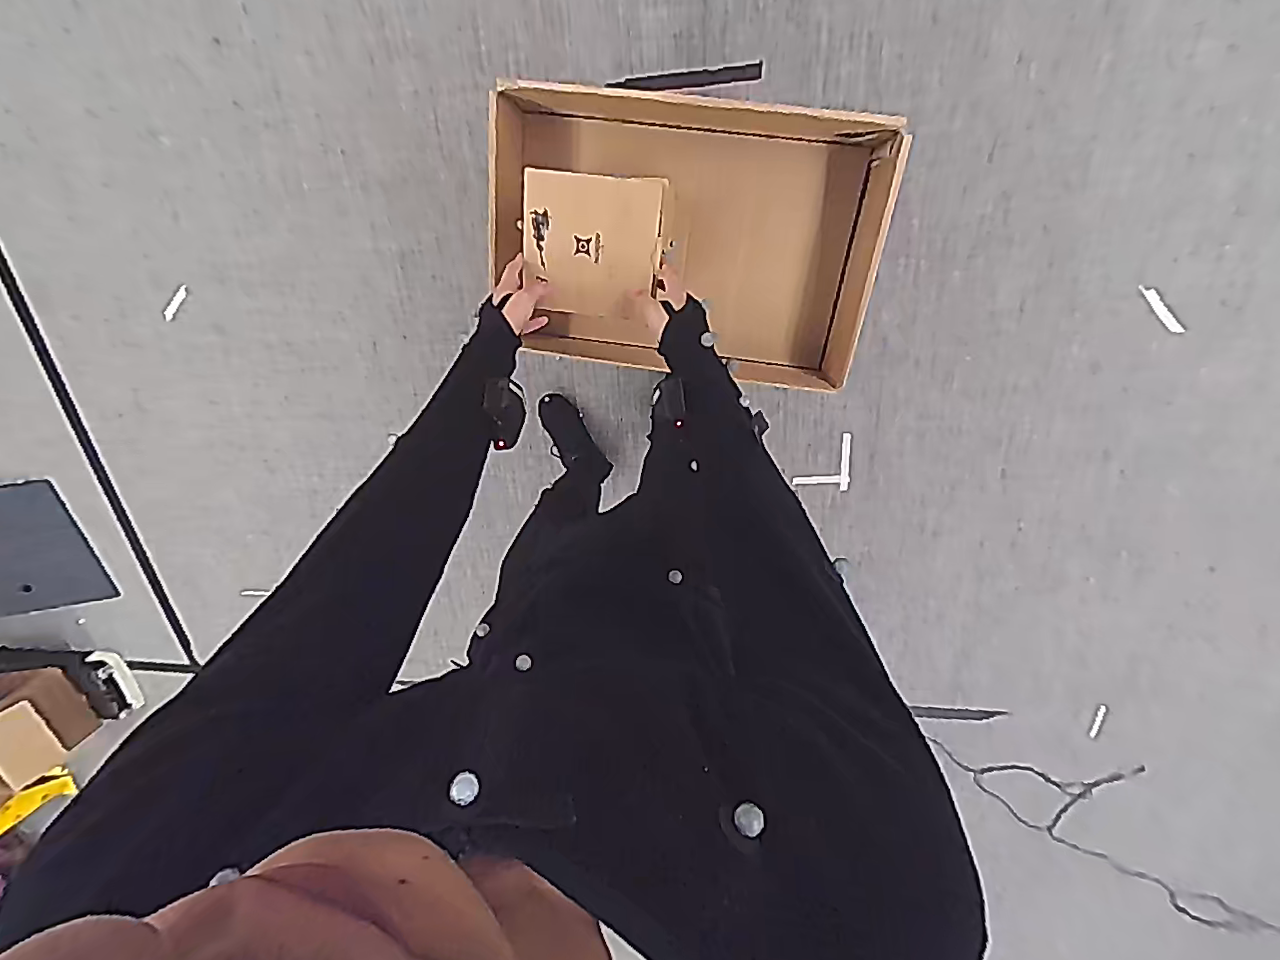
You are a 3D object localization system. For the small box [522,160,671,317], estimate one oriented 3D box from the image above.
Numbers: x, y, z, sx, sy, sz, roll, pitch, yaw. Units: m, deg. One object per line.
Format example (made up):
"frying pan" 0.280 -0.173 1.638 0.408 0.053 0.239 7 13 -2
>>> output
"small box" -0.054 -0.333 0.754 0.179 0.176 0.168 9 114 3
